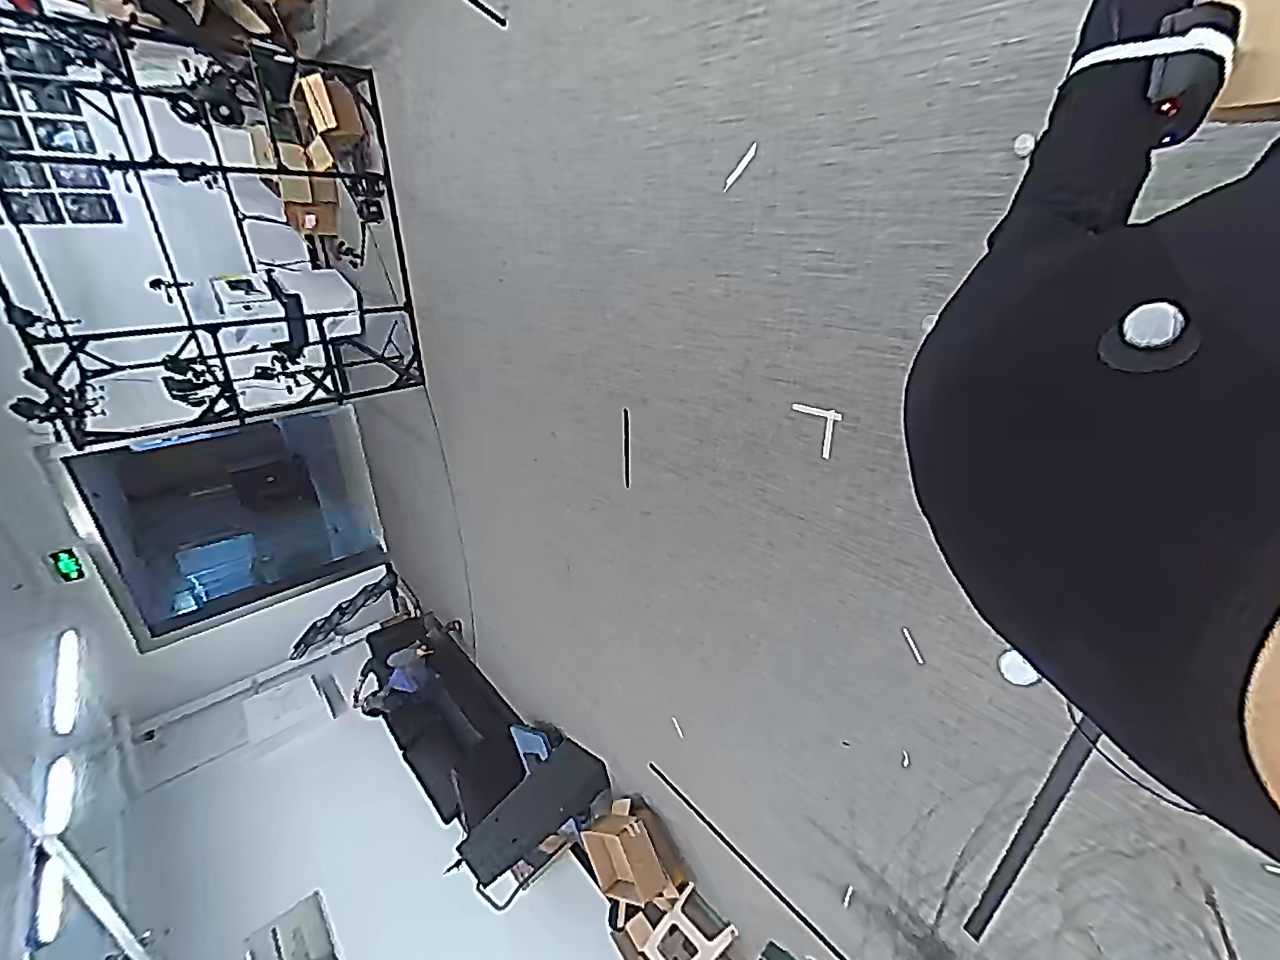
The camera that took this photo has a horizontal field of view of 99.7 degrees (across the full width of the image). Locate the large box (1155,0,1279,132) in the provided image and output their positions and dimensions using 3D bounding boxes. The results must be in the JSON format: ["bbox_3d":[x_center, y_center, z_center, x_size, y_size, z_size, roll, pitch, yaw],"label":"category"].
[{"bbox_3d":[0.632,-0.404,0.303,0.408,0.320,0.320,27,131,44],"label":"large box"}]
